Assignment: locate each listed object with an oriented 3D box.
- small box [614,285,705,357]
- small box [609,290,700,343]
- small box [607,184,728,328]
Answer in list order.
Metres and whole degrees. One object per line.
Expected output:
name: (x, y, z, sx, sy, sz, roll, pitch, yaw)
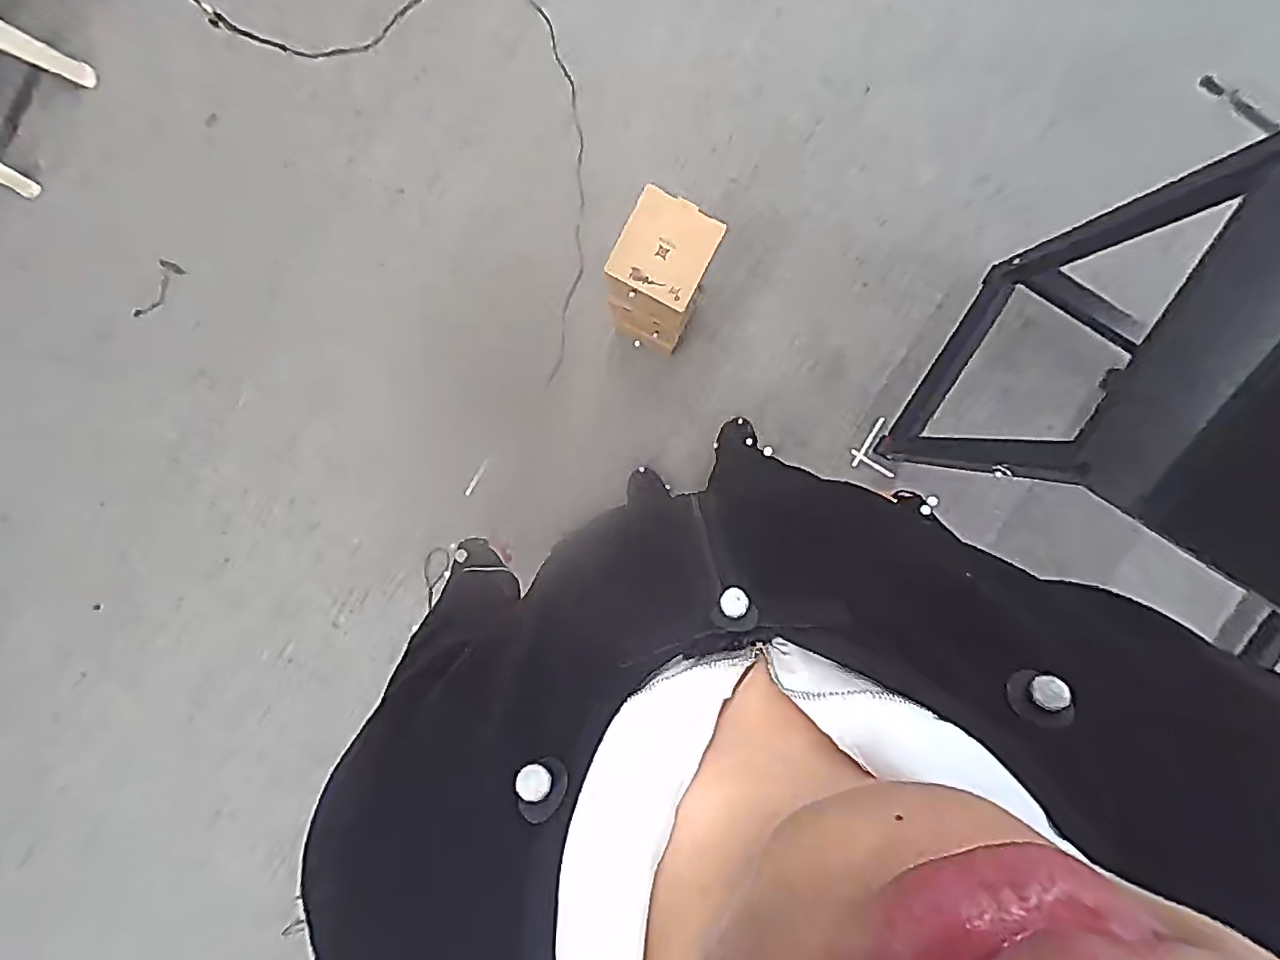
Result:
small box: (0.046, -0.434, 1.379, 0.168, 0.176, 0.179, 28, 95, -1)
small box: (0.044, -0.427, 1.217, 0.168, 0.176, 0.179, 24, 93, -2)
small box: (0.047, -0.423, 1.052, 0.168, 0.176, 0.179, 28, 94, -1)
